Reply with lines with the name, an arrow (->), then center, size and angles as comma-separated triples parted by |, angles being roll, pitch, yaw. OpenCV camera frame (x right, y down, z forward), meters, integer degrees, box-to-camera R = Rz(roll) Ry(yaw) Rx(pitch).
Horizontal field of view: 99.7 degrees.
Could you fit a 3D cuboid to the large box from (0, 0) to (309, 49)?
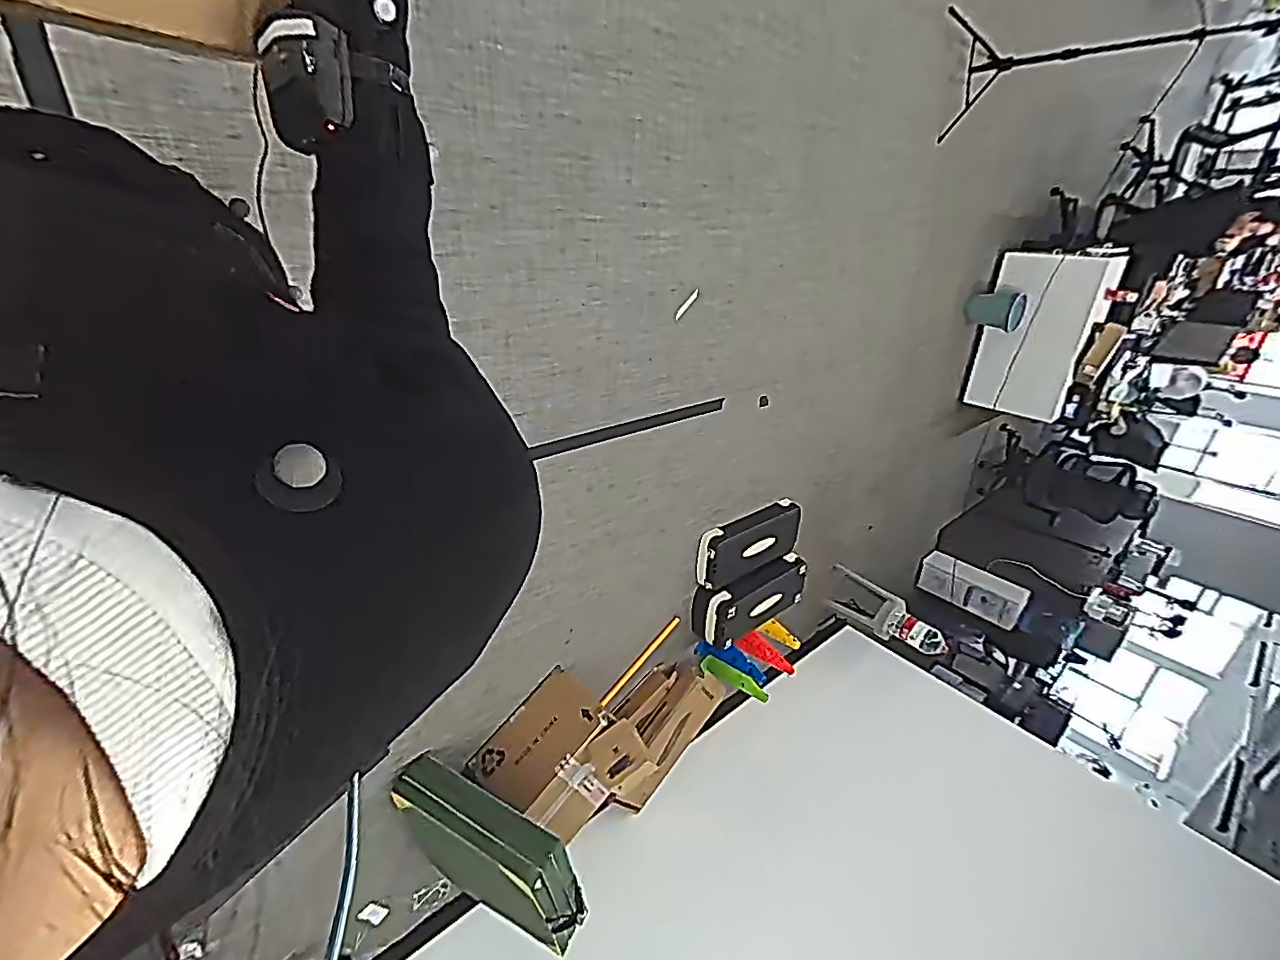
large box -> -0.449, -0.450, 0.261 | 0.408, 0.320, 0.320 | -18, 131, -40
